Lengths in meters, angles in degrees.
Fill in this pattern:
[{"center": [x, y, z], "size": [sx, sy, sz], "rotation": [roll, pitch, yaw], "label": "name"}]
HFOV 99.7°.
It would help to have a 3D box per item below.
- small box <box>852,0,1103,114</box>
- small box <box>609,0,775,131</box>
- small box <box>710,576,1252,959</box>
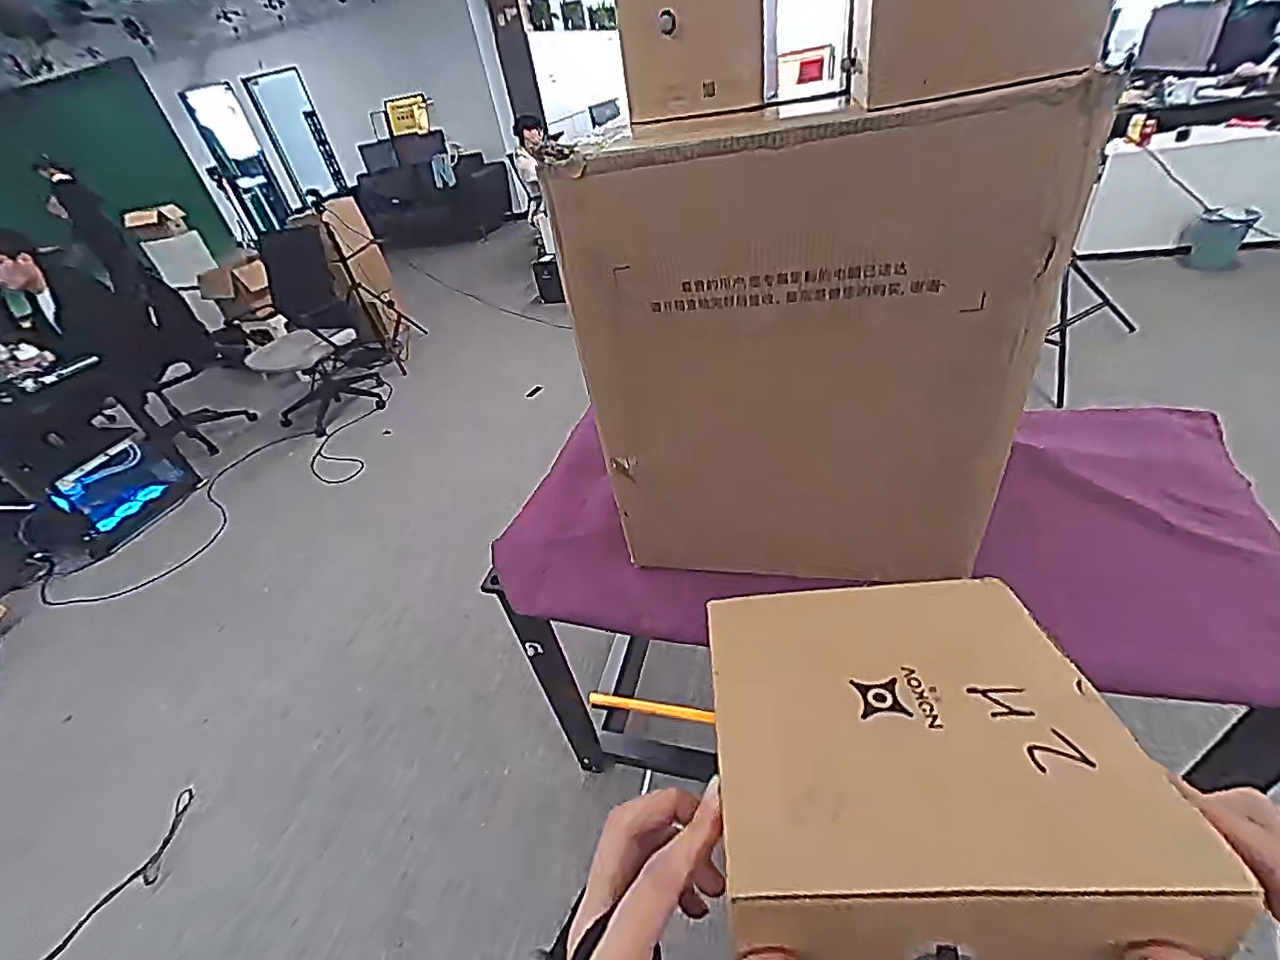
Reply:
[{"center": [0.284, -0.438, 0.472], "size": [0.179, 0.176, 0.168], "rotation": [-1, 39, 15], "label": "small box"}, {"center": [0.075, -0.546, 0.670], "size": [0.168, 0.176, 0.179], "rotation": [4, 39, 19], "label": "small box"}, {"center": [0.136, 0.174, 0.292], "size": [0.179, 0.176, 0.168], "rotation": [-6, 27, 7], "label": "small box"}]
